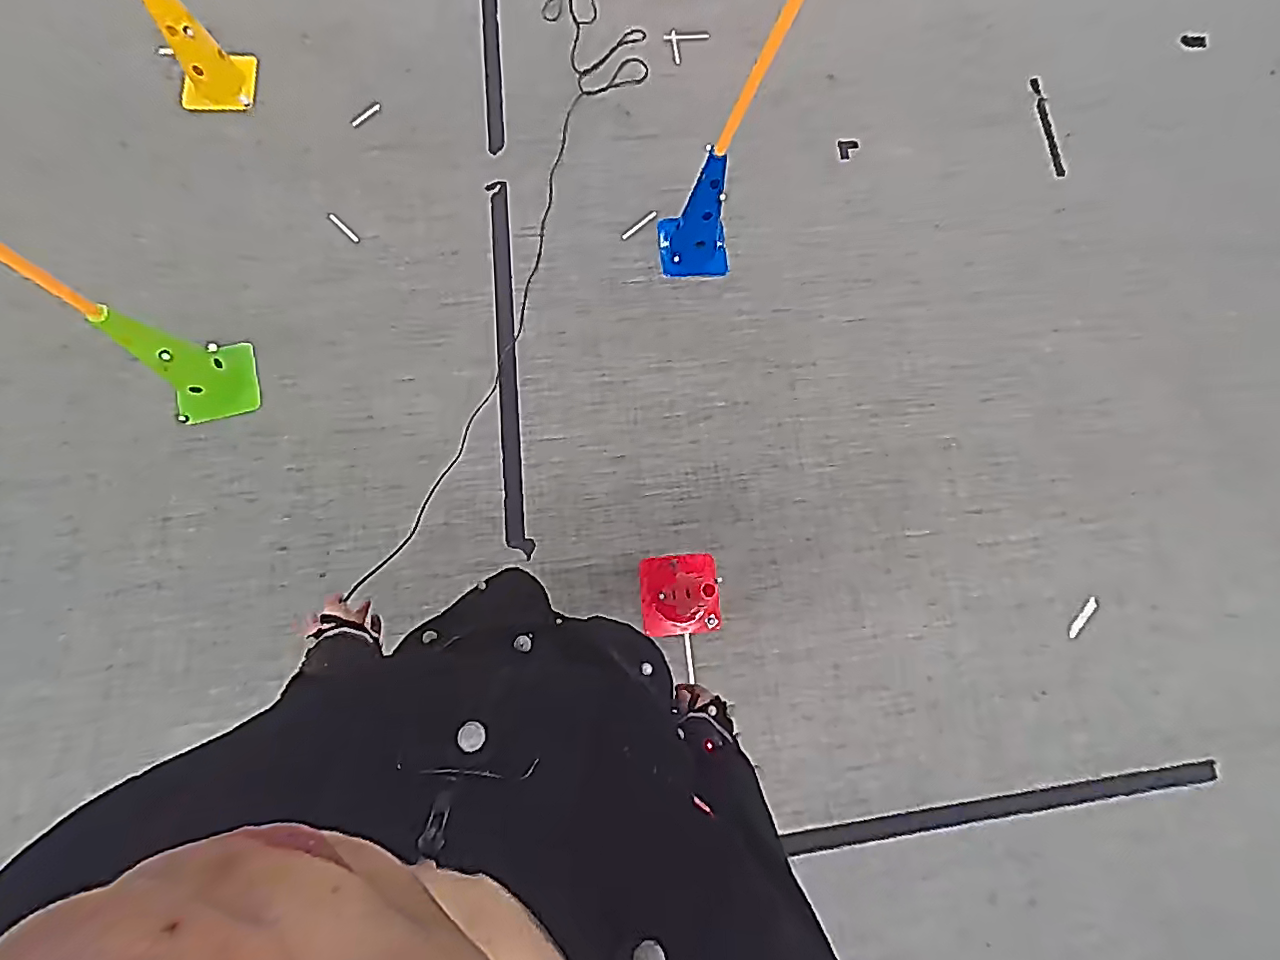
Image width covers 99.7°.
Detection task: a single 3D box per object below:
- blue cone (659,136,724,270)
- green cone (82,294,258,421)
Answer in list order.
[{"bbox_3d":[0.170,-0.753,1.466,0.193,0.380,0.192,-2,77,-5],"label":"blue cone"},{"bbox_3d":[-1.102,-0.306,1.253,0.200,0.368,0.202,-15,77,-8],"label":"green cone"}]
